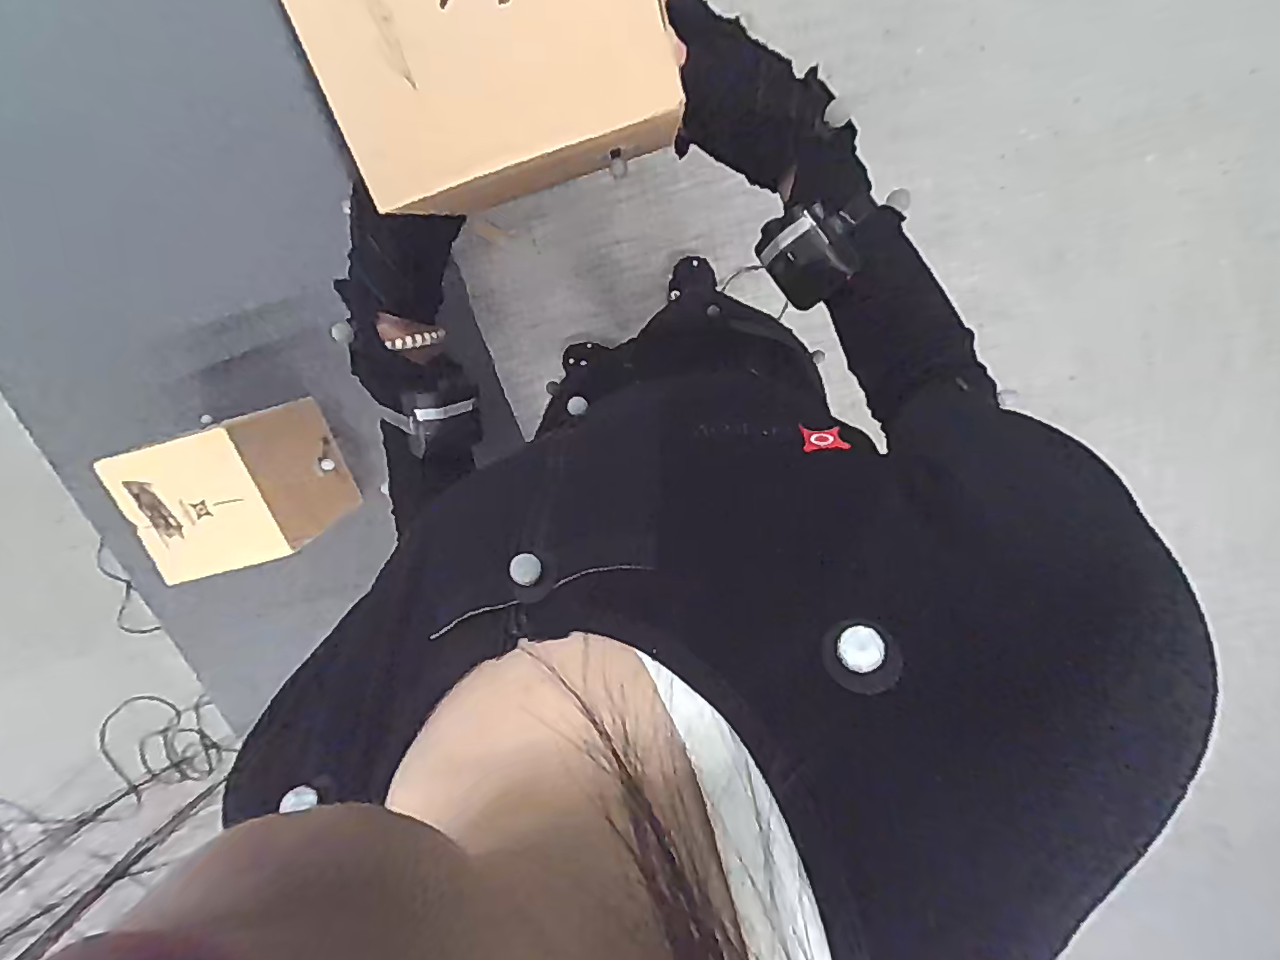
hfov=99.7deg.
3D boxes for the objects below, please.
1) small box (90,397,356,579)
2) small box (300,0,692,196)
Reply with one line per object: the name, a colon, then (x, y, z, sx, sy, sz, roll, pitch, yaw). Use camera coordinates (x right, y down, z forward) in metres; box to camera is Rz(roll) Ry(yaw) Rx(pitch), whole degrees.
small box: (-0.514, 0.002, 0.698, 0.179, 0.176, 0.168, -13, 109, 7)
small box: (-0.077, -0.281, 0.318, 0.179, 0.176, 0.168, -14, 114, 7)
